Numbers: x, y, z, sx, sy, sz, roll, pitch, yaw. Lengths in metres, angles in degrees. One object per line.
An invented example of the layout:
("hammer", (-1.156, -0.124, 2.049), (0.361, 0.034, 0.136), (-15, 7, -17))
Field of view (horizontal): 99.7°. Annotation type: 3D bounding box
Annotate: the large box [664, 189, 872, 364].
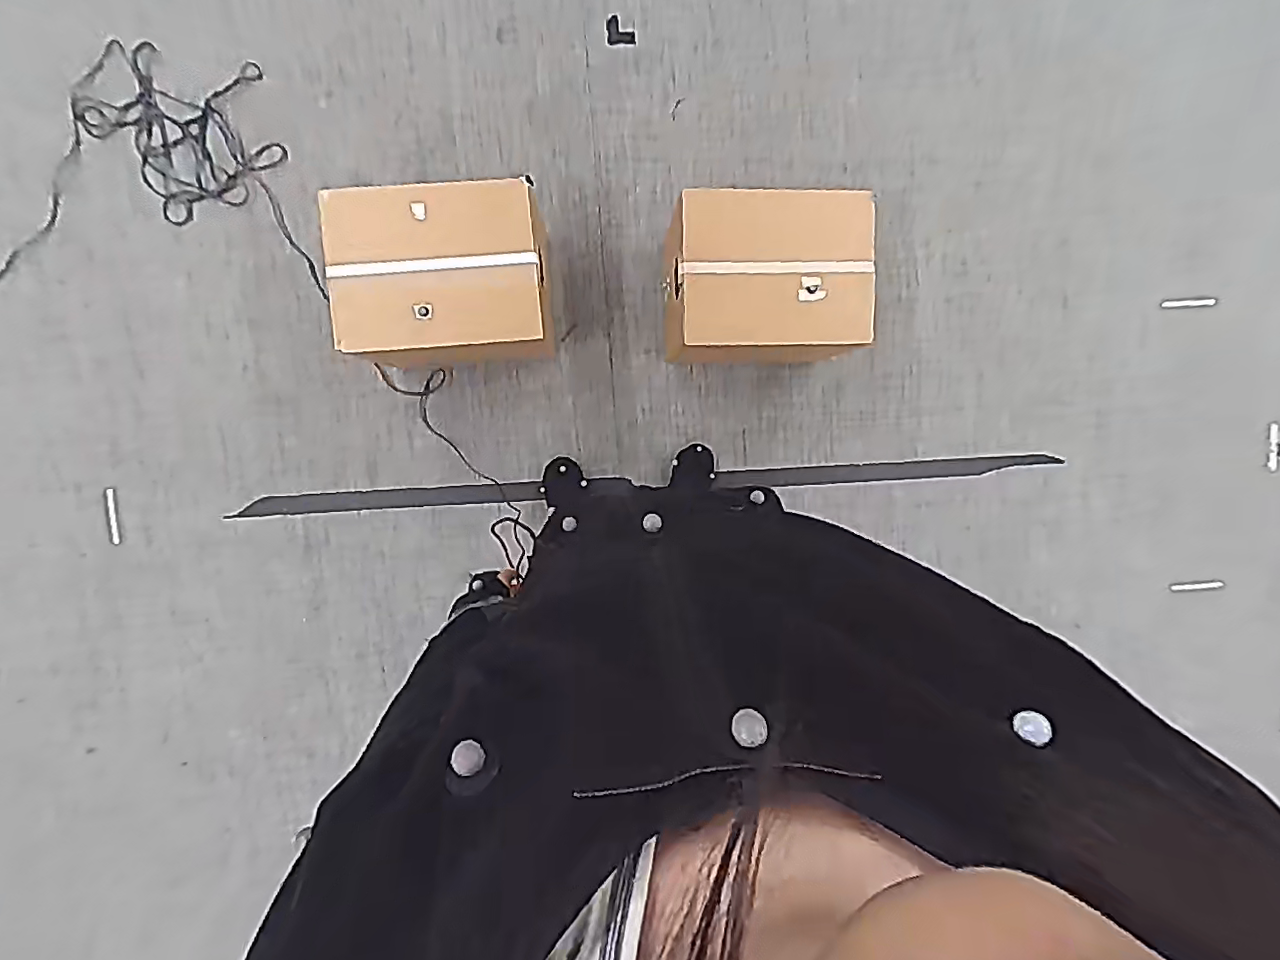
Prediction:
("large box", (0.276, -0.454, 1.268), (0.408, 0.320, 0.320), (-1, 95, -5))
